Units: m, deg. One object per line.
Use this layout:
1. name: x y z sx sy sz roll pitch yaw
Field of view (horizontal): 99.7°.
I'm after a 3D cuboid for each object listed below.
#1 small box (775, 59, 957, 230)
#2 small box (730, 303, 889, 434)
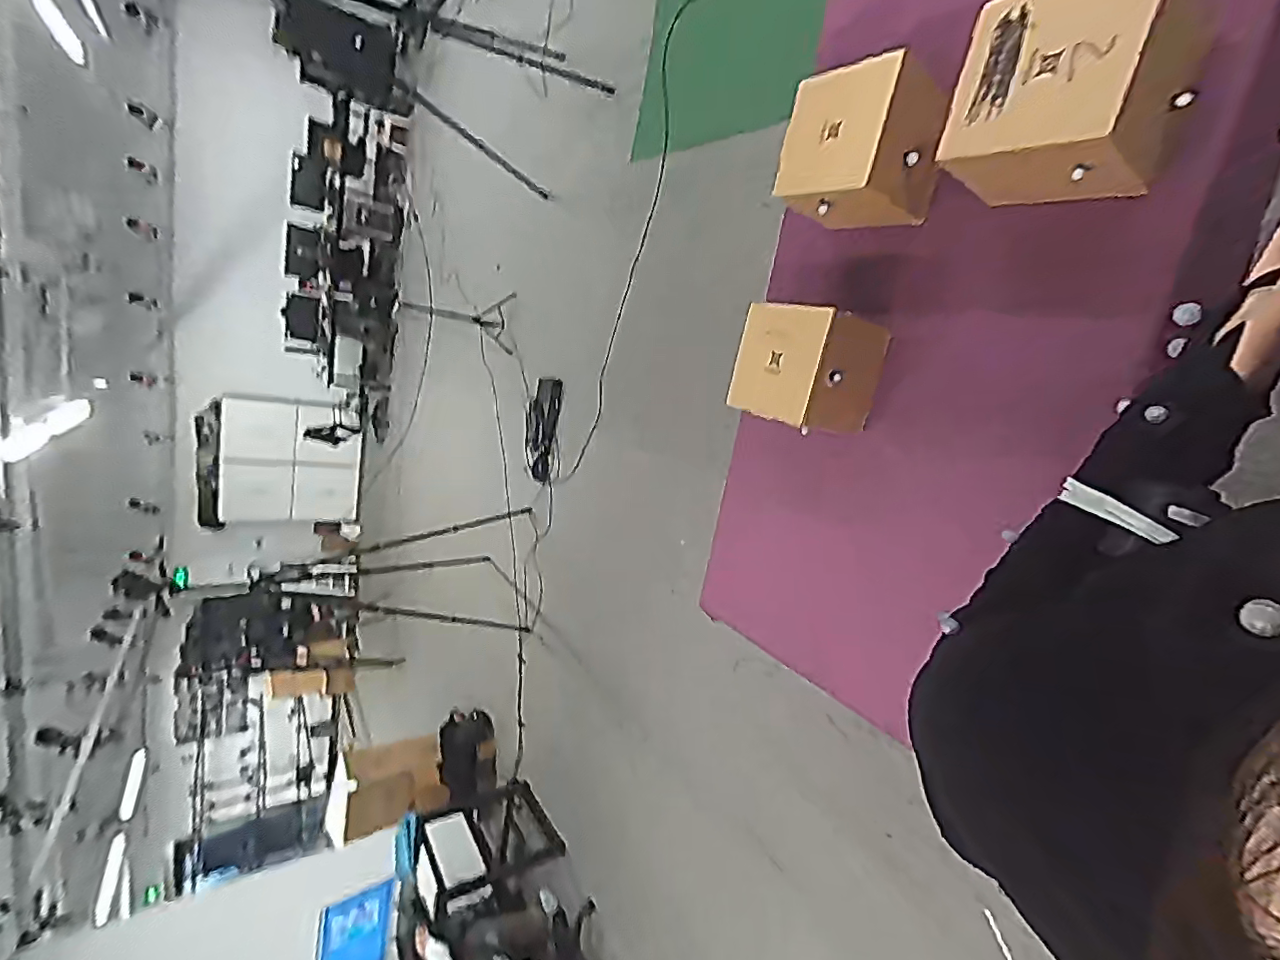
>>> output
1. small box: 0.346 -0.497 0.832 0.179 0.176 0.168 31 113 51
2. small box: 0.283 -0.182 0.902 0.168 0.176 0.179 30 111 50
